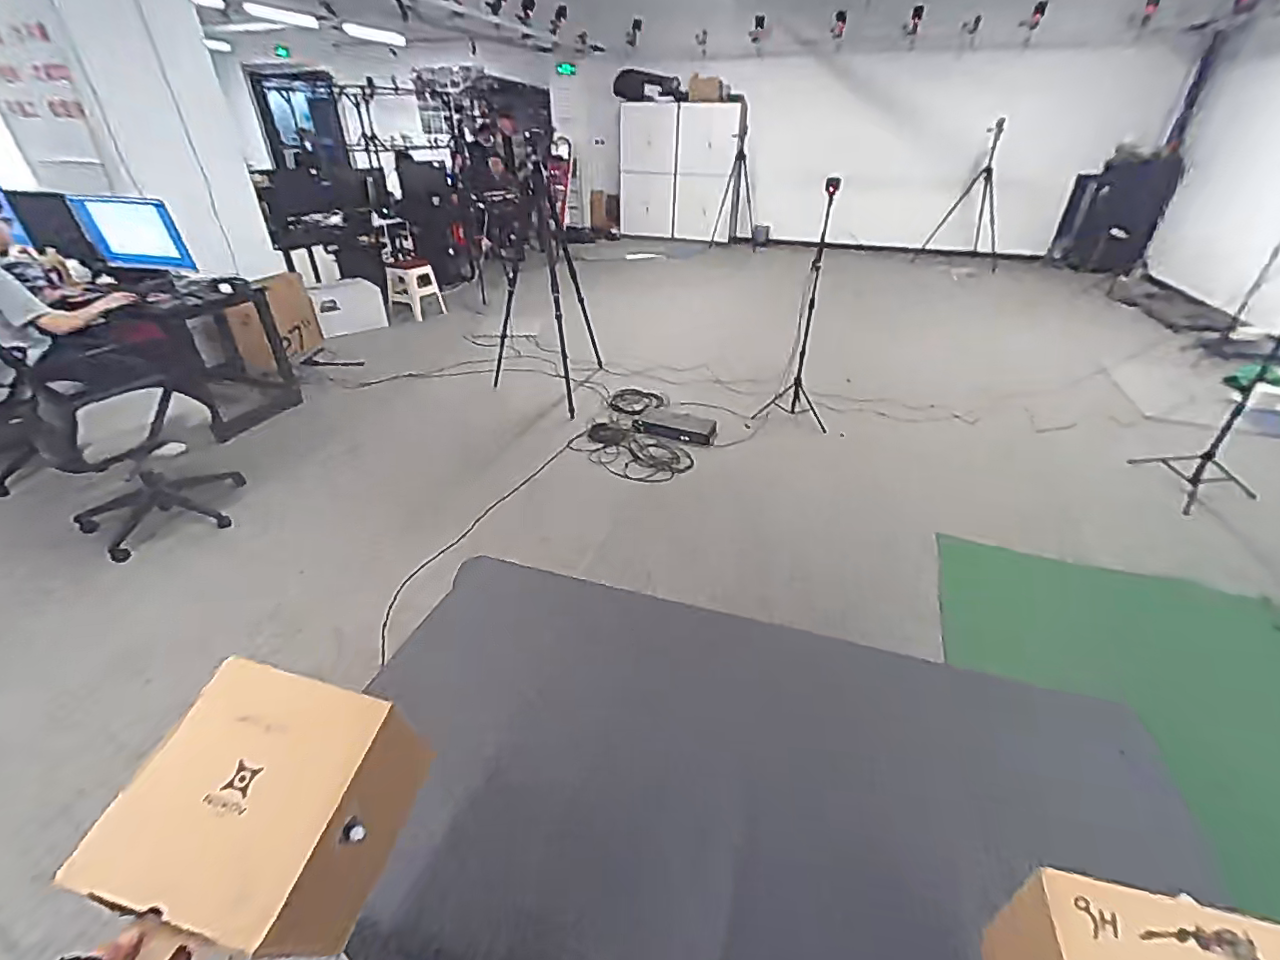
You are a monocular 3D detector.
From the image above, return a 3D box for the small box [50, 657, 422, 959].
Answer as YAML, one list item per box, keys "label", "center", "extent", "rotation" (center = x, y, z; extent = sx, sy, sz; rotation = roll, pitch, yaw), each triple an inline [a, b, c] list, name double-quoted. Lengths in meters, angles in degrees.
- label: "small box"
  center: [-0.320, 0.291, 0.482]
  extent: [0.168, 0.176, 0.179]
  rotation: [13, 49, 6]
